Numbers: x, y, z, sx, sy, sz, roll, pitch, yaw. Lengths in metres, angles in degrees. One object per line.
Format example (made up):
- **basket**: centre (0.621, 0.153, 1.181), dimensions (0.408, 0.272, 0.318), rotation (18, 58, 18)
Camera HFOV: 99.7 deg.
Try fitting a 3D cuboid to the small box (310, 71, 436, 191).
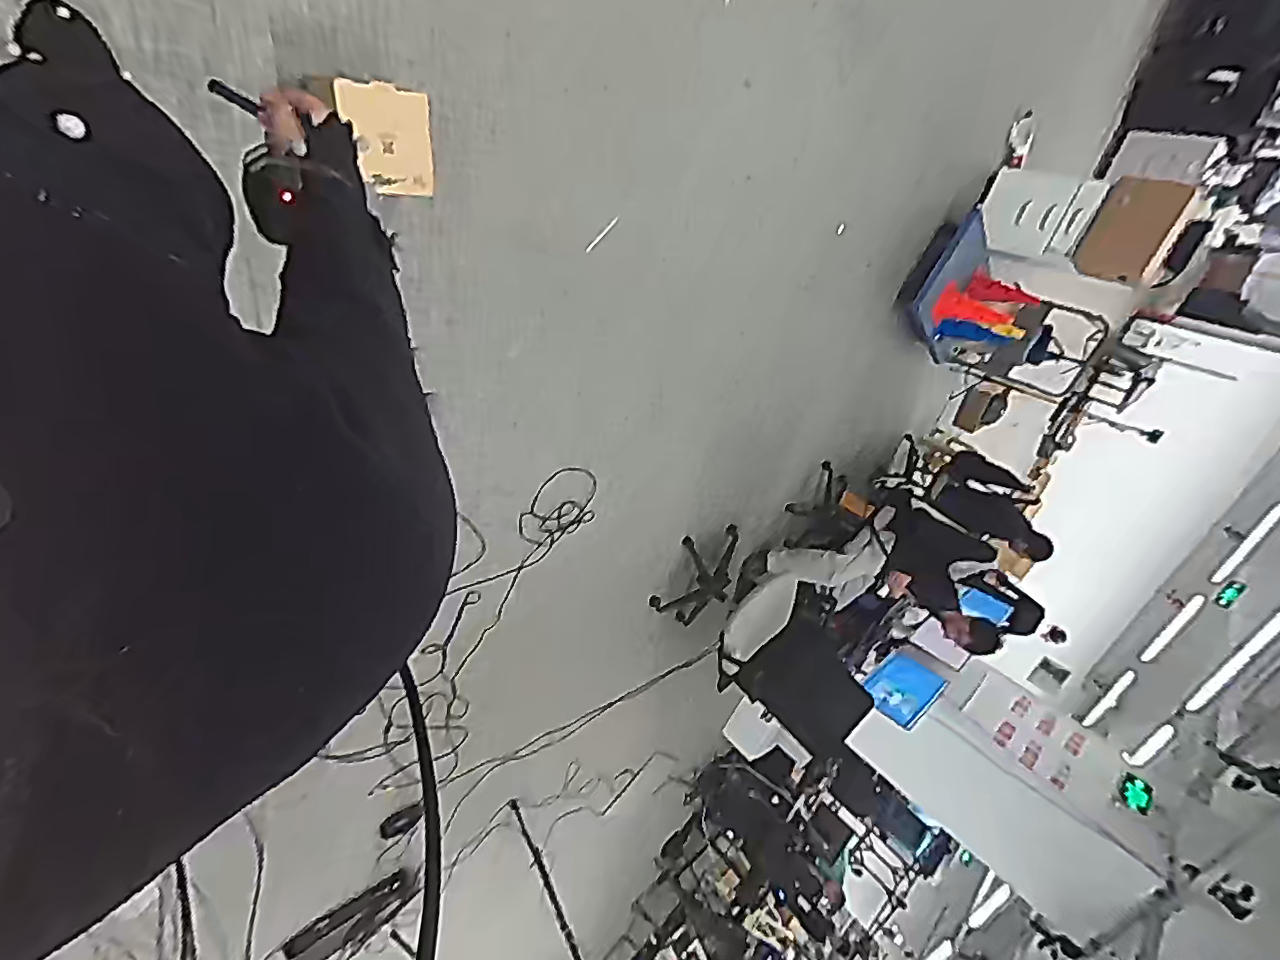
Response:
- **small box**: centre (-0.518, -0.674, 1.051), dimensions (0.168, 0.176, 0.179), rotation (-20, 131, -37)
